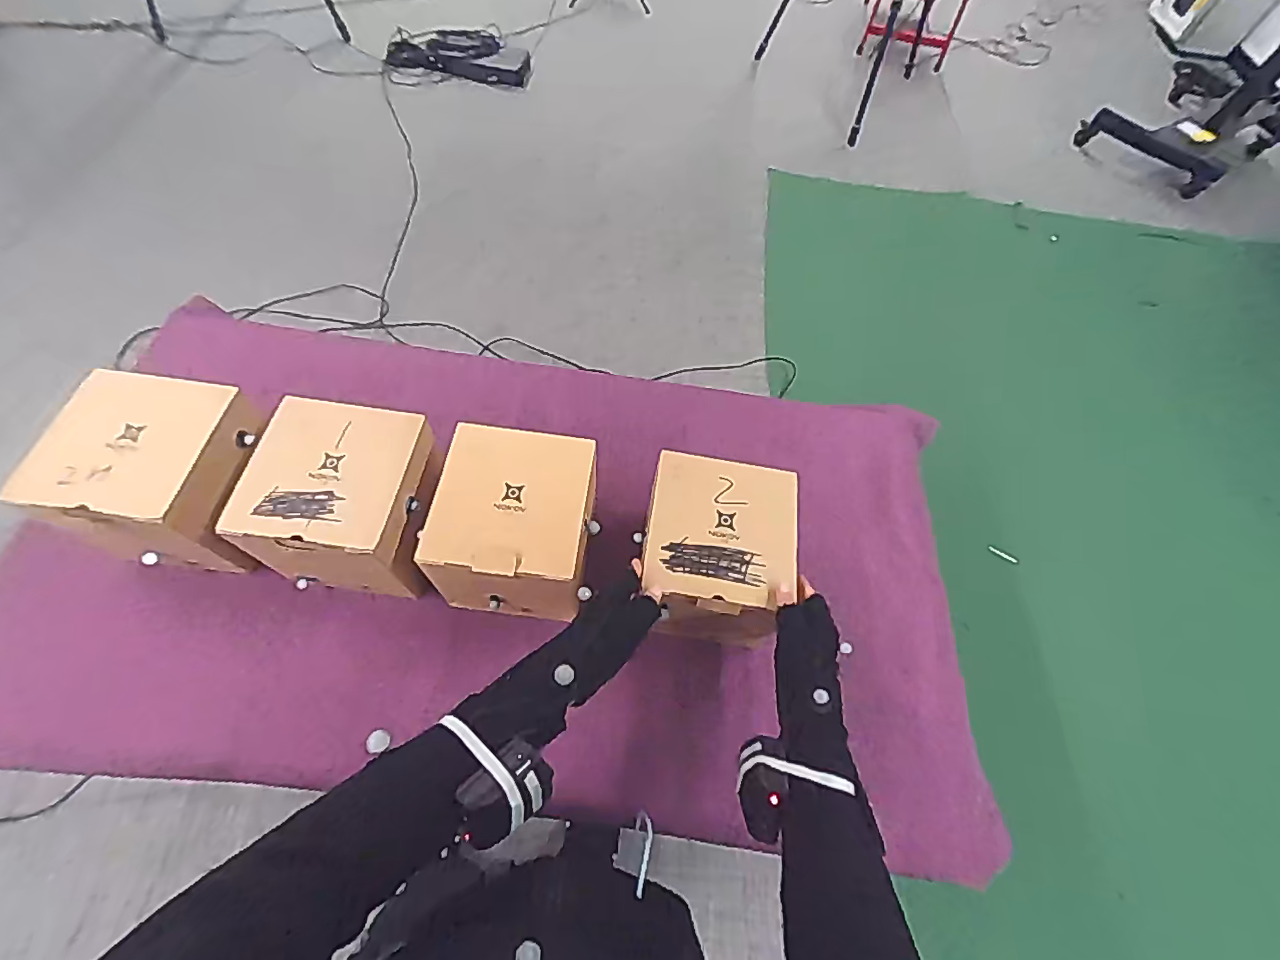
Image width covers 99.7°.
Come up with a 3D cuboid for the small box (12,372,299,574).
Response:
[{"bbox_3d":[-0.558,-0.003,0.662,0.168,0.176,0.179,8,62,-1],"label":"small box"}]
